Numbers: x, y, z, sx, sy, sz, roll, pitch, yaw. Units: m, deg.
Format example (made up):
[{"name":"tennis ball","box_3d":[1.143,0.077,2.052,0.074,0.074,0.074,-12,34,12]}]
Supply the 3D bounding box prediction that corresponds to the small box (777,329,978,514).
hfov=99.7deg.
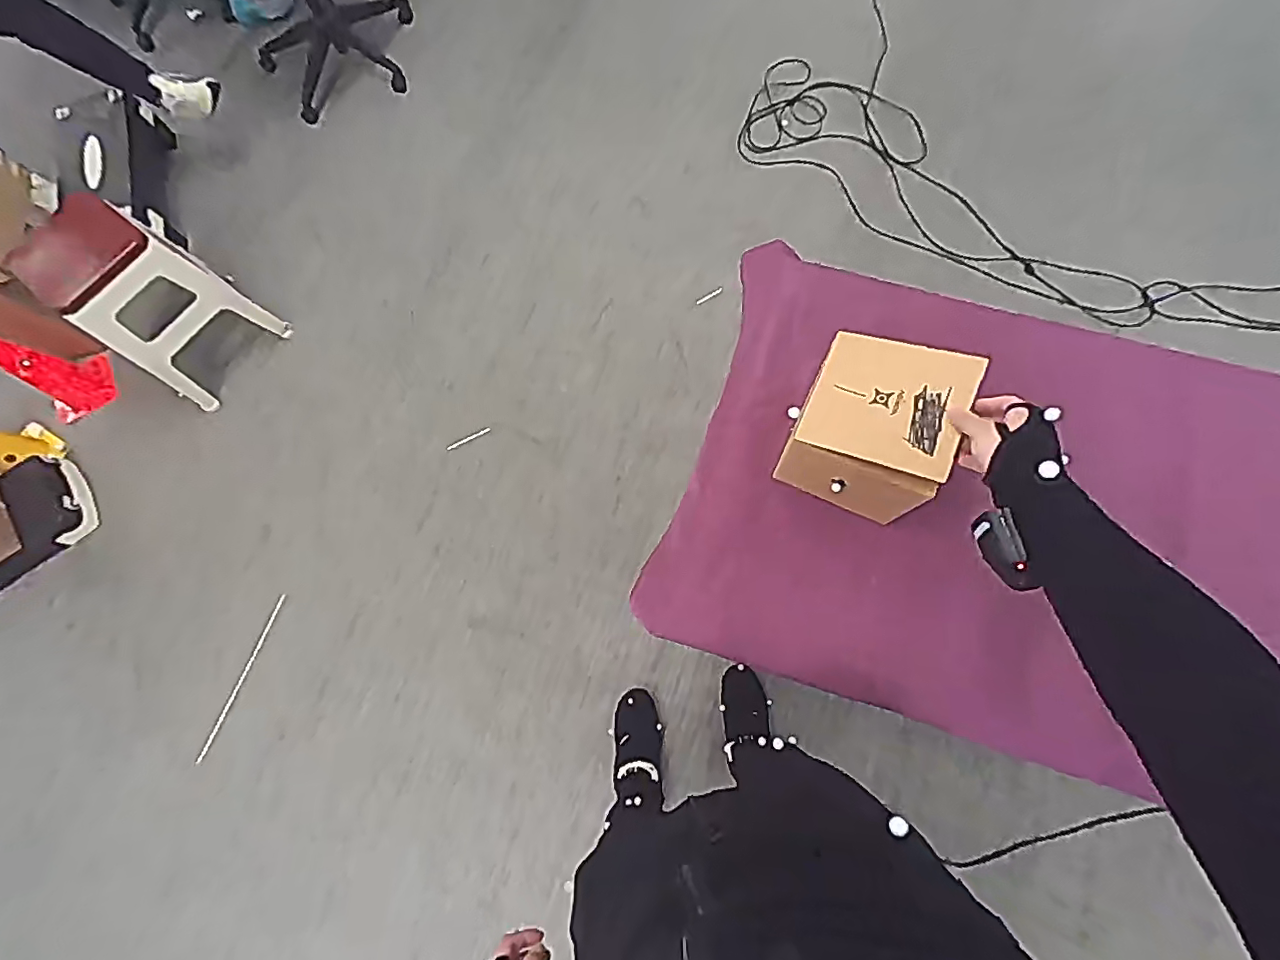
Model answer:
[{"name":"small box","box_3d":[0.305,-0.067,0.731,0.179,0.176,0.168,24,77,12]}]
